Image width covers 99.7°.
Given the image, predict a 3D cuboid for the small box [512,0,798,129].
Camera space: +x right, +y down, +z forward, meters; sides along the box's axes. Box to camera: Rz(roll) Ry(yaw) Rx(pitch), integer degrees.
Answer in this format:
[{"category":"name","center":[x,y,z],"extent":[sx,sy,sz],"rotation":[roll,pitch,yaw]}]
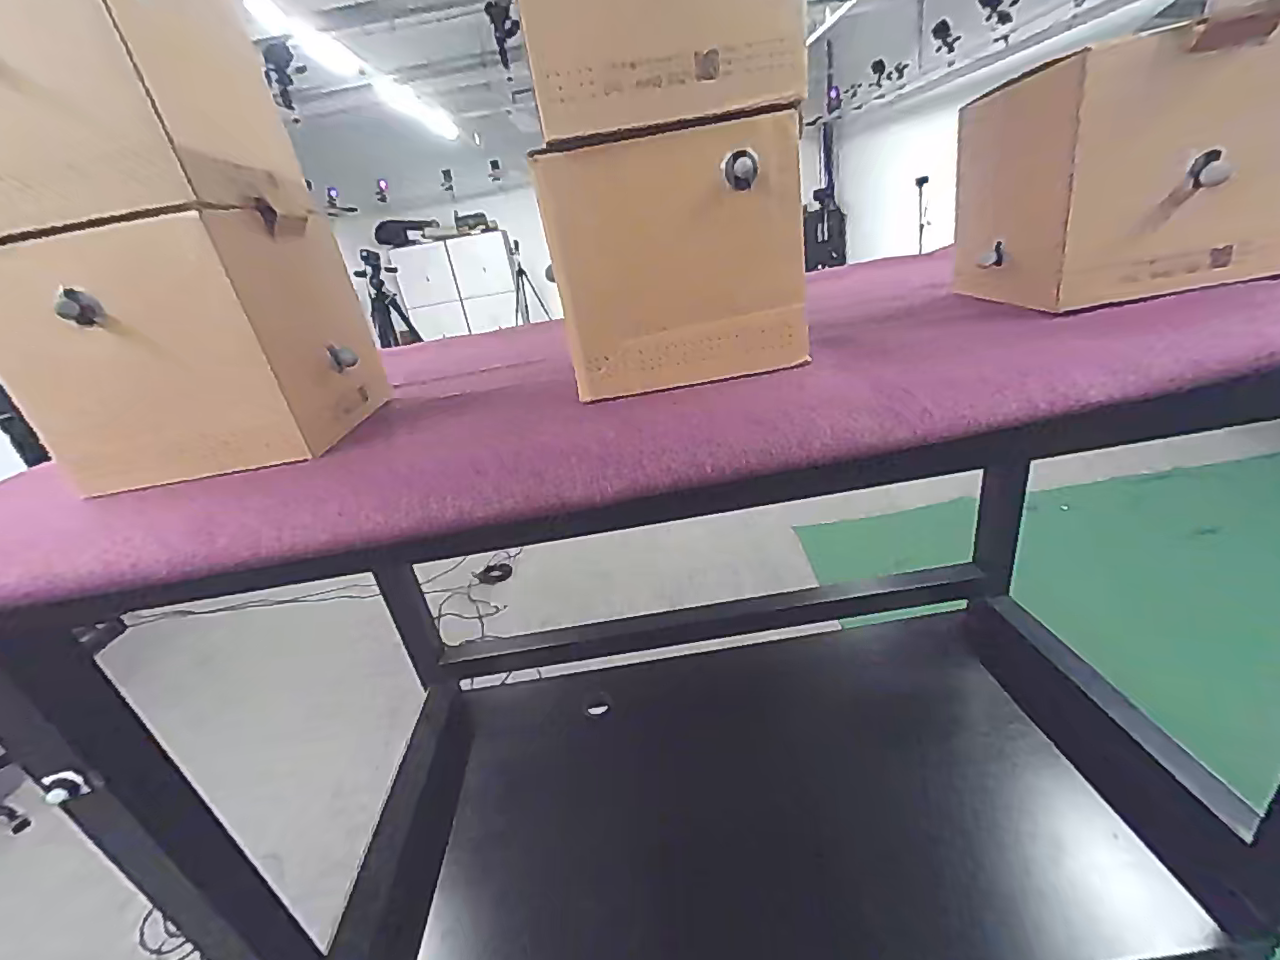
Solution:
[{"category":"small box","center":[0.000,-0.327,0.364],"extent":[0.168,0.176,0.179],"rotation":[-9,23,-2]}]

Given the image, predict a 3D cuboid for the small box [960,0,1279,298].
[{"category":"small box","center":[0.376,-0.247,0.423],"extent":[0.168,0.176,0.179],"rotation":[-8,24,8]}]

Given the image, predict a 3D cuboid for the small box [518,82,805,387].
[{"category":"small box","center":[0.020,-0.180,0.430],"extent":[0.179,0.176,0.168],"rotation":[-9,24,1]}]

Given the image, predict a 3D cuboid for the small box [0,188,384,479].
[{"category":"small box","center":[-0.336,-0.113,0.418],"extent":[0.179,0.176,0.168],"rotation":[-10,26,1]}]
